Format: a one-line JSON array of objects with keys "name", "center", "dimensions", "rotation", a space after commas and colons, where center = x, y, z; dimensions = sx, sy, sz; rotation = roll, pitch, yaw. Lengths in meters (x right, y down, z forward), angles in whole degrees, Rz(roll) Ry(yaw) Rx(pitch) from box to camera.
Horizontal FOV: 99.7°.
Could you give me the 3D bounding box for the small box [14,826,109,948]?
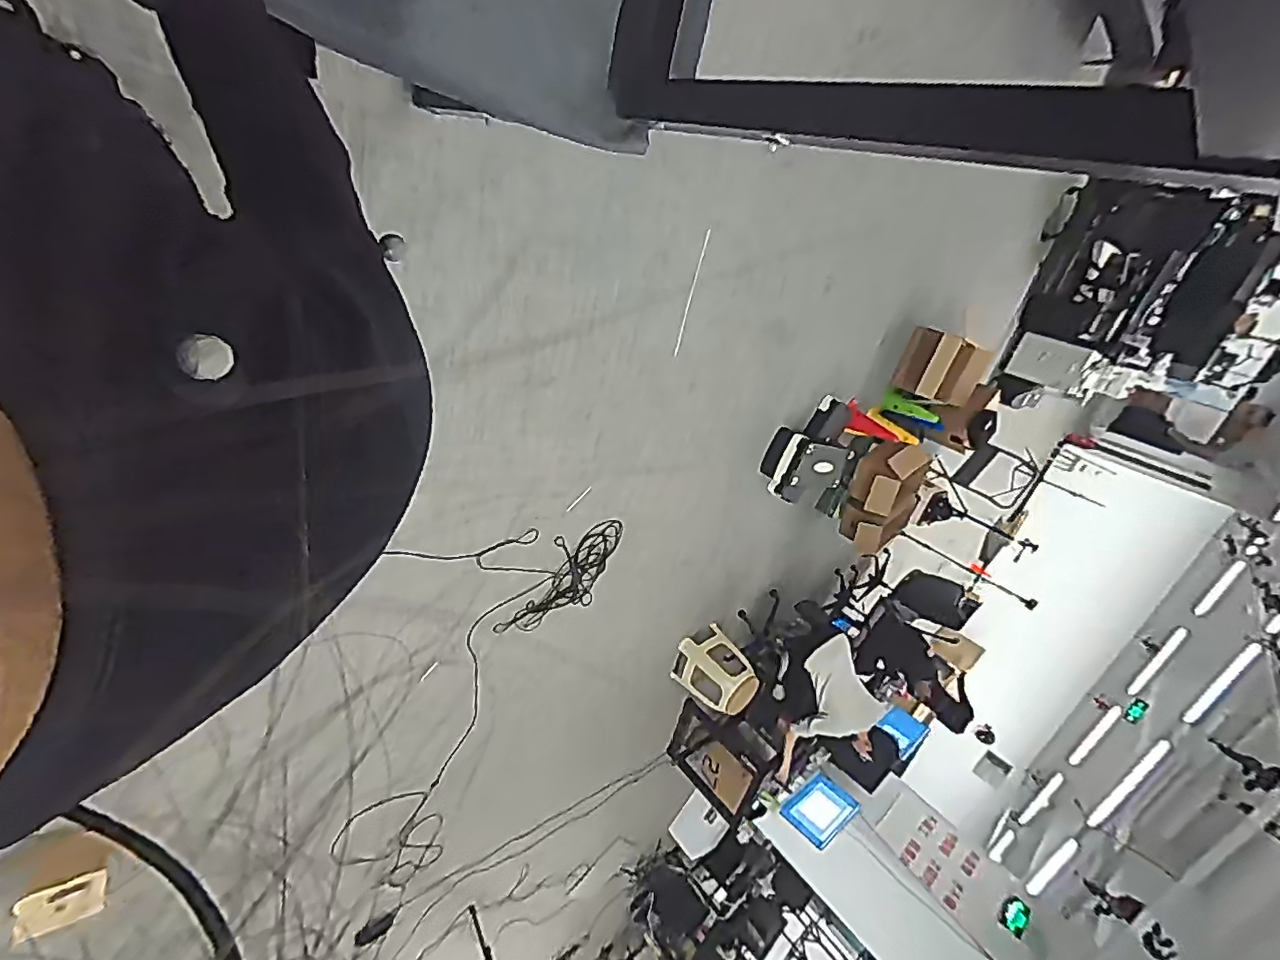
[{"name": "small box", "center": [-1.542, 1.069, 1.443], "dimensions": [0.168, 0.176, 0.179], "rotation": [2, 117, -46]}]
